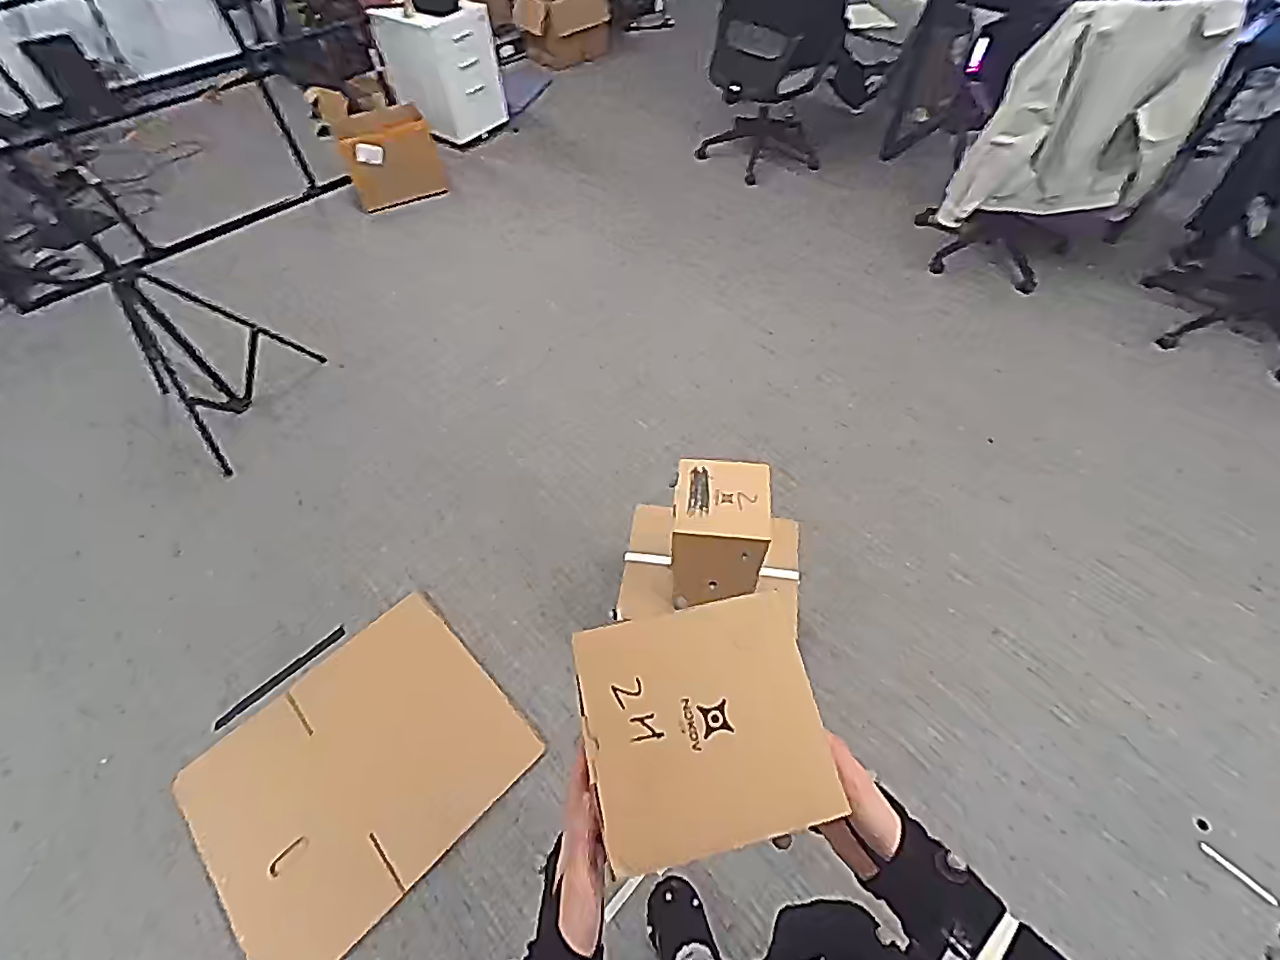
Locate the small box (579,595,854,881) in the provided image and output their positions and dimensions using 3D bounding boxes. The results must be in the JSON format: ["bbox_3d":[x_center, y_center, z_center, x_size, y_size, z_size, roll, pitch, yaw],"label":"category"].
[{"bbox_3d":[0.047,0.210,0.471,0.179,0.176,0.168,-10,67,-7],"label":"small box"}]

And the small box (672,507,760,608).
[{"bbox_3d":[0.163,0.177,1.192,0.179,0.176,0.168,4,56,4],"label":"small box"}]
